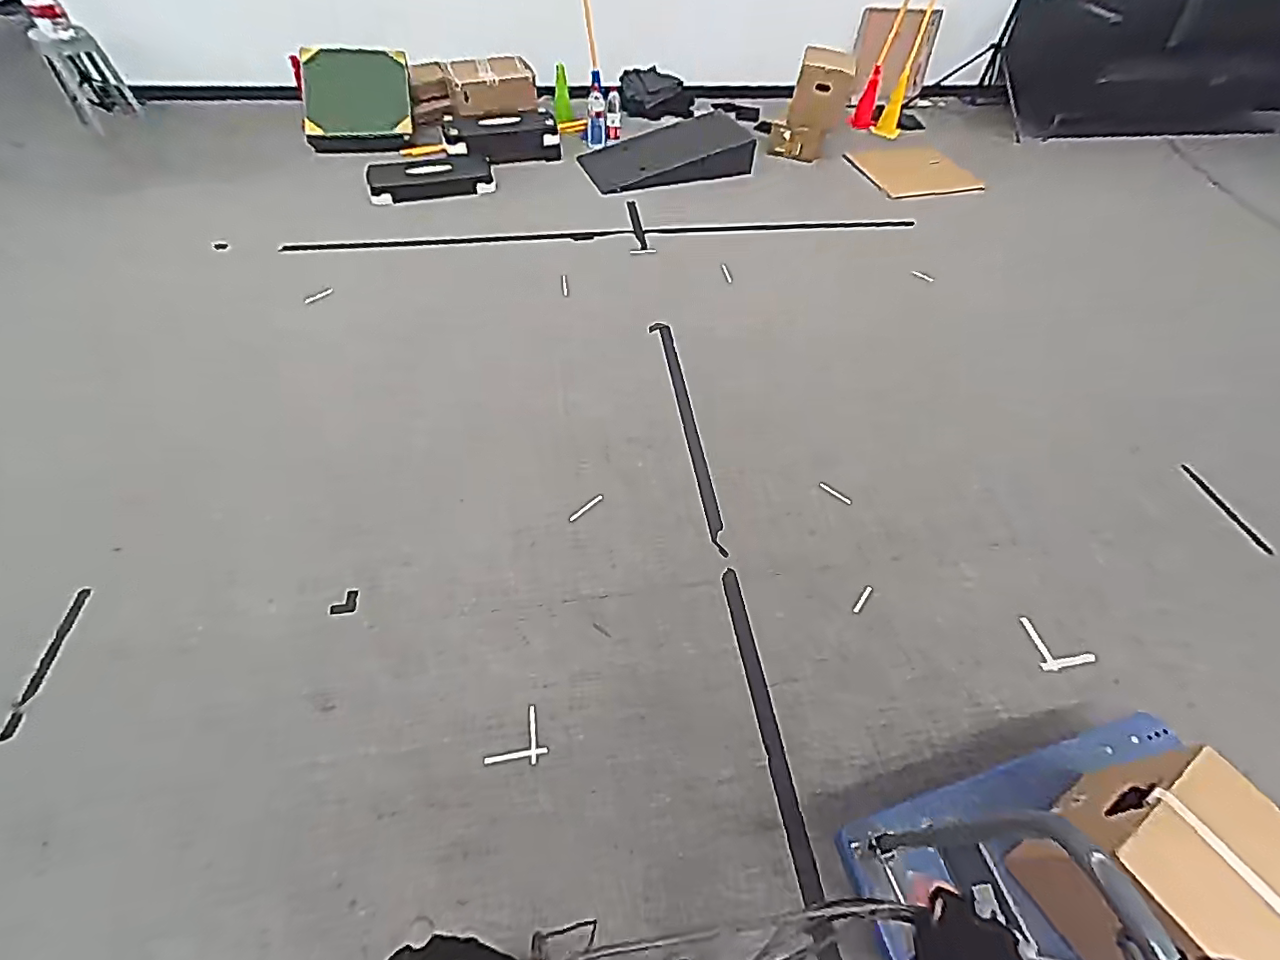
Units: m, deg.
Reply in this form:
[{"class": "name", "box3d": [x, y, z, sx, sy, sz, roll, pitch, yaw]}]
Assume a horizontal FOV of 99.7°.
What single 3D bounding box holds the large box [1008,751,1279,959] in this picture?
[{"class": "large box", "box3d": [0.970, 0.761, 0.926, 0.320, 0.320, 0.408, -25, 59, -21]}]
